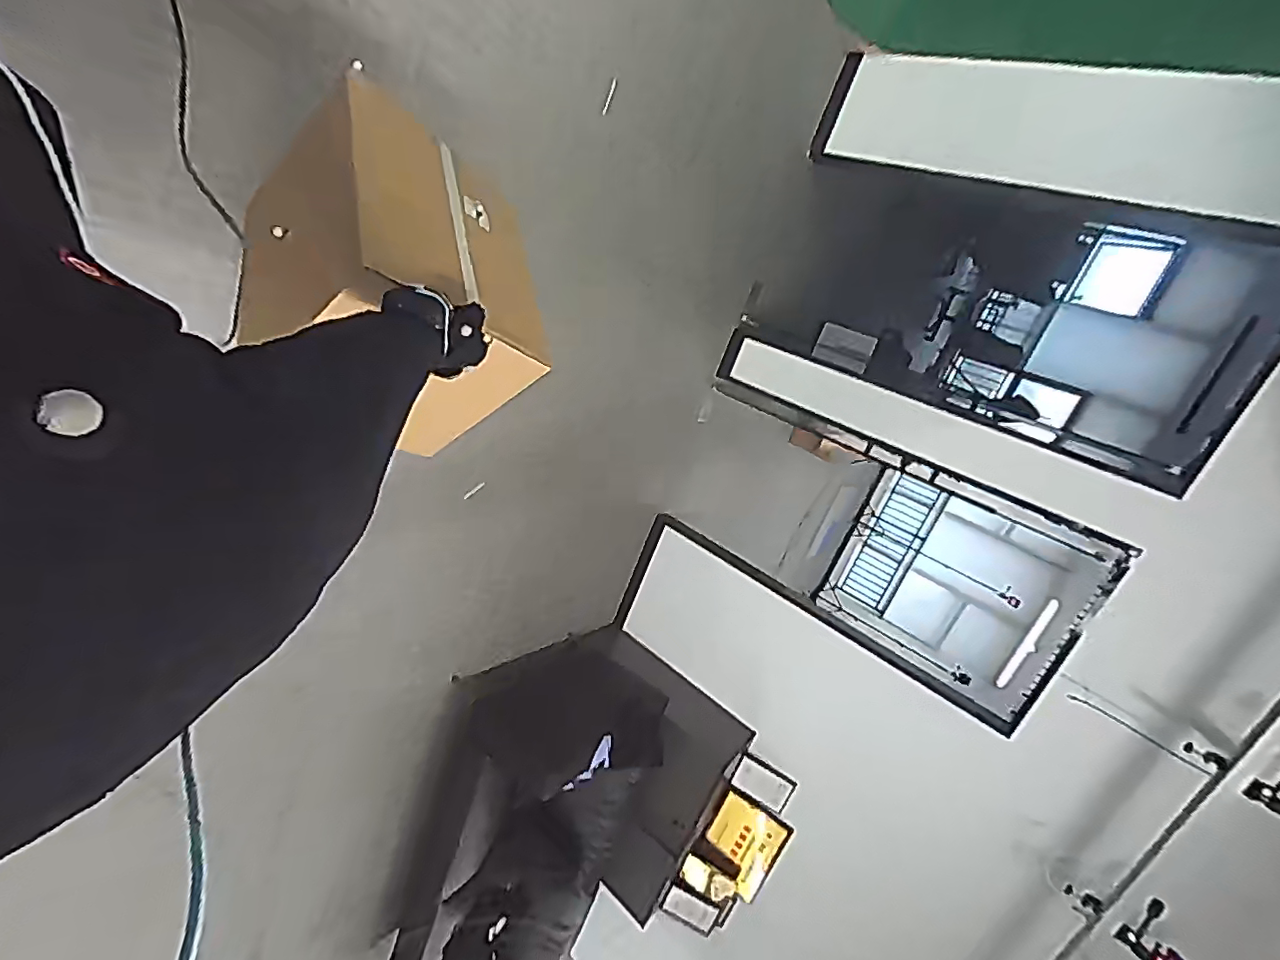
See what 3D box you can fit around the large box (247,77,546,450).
[{"bbox_3d":[-0.407,-0.315,0.889,0.320,0.408,0.320,-30,153,25],"label":"large box"}]
